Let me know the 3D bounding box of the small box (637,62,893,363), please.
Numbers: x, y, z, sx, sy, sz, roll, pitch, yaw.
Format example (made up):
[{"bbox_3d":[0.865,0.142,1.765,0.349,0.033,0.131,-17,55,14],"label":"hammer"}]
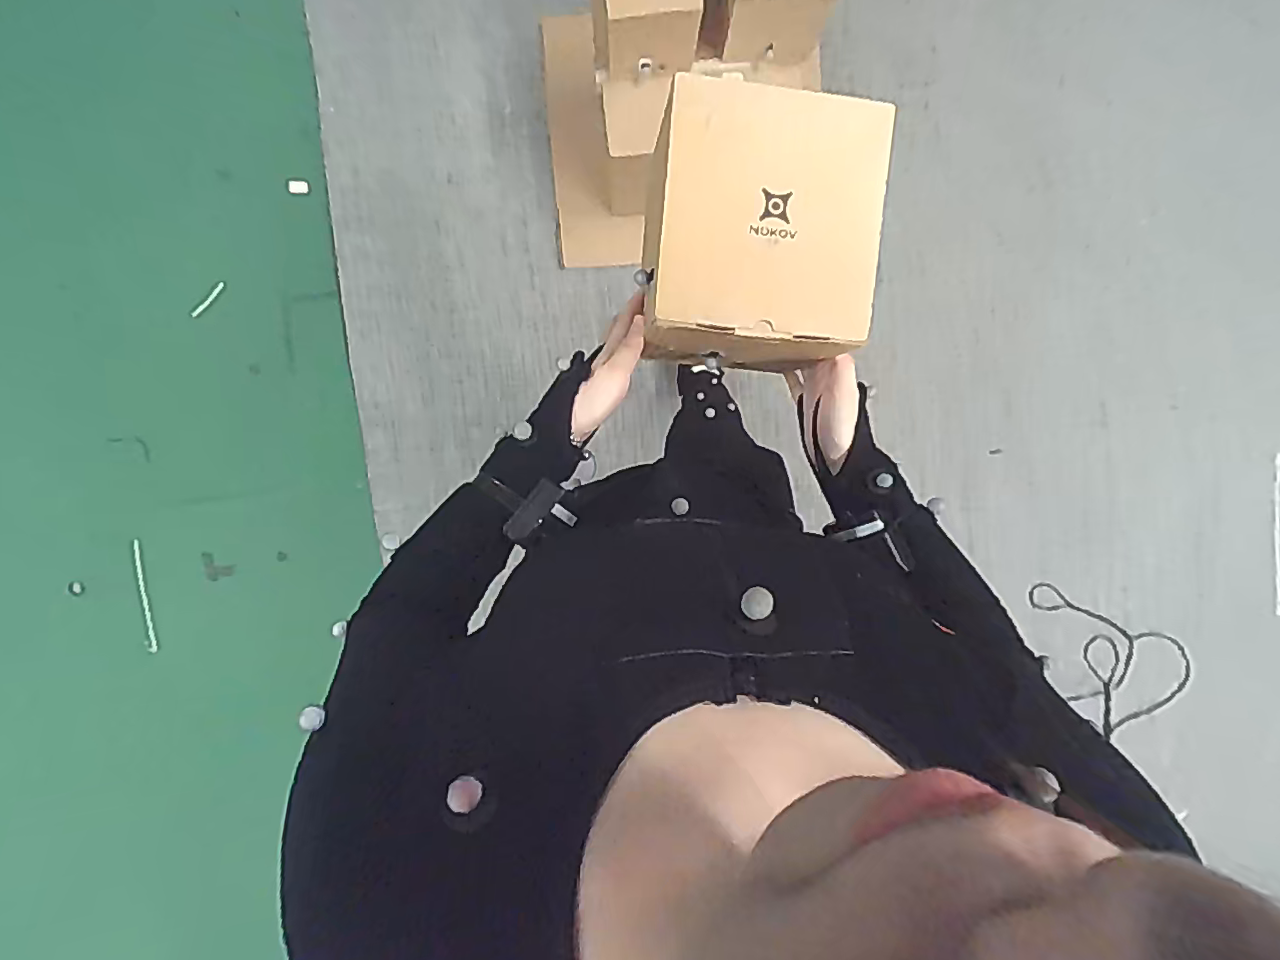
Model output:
[{"bbox_3d":[0.091,-0.208,0.472,0.168,0.176,0.179,4,94,-6],"label":"small box"}]

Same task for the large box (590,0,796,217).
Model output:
[{"bbox_3d":[0.108,-0.834,1.232,0.408,0.320,0.320,-7,96,-2],"label":"large box"}]

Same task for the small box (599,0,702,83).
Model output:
[{"bbox_3d":[0.012,-0.872,0.982,0.168,0.176,0.179,-8,95,0],"label":"small box"}]

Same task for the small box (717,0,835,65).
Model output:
[{"bbox_3d":[0.242,-0.895,0.983,0.179,0.176,0.168,-1,95,-1],"label":"small box"}]
